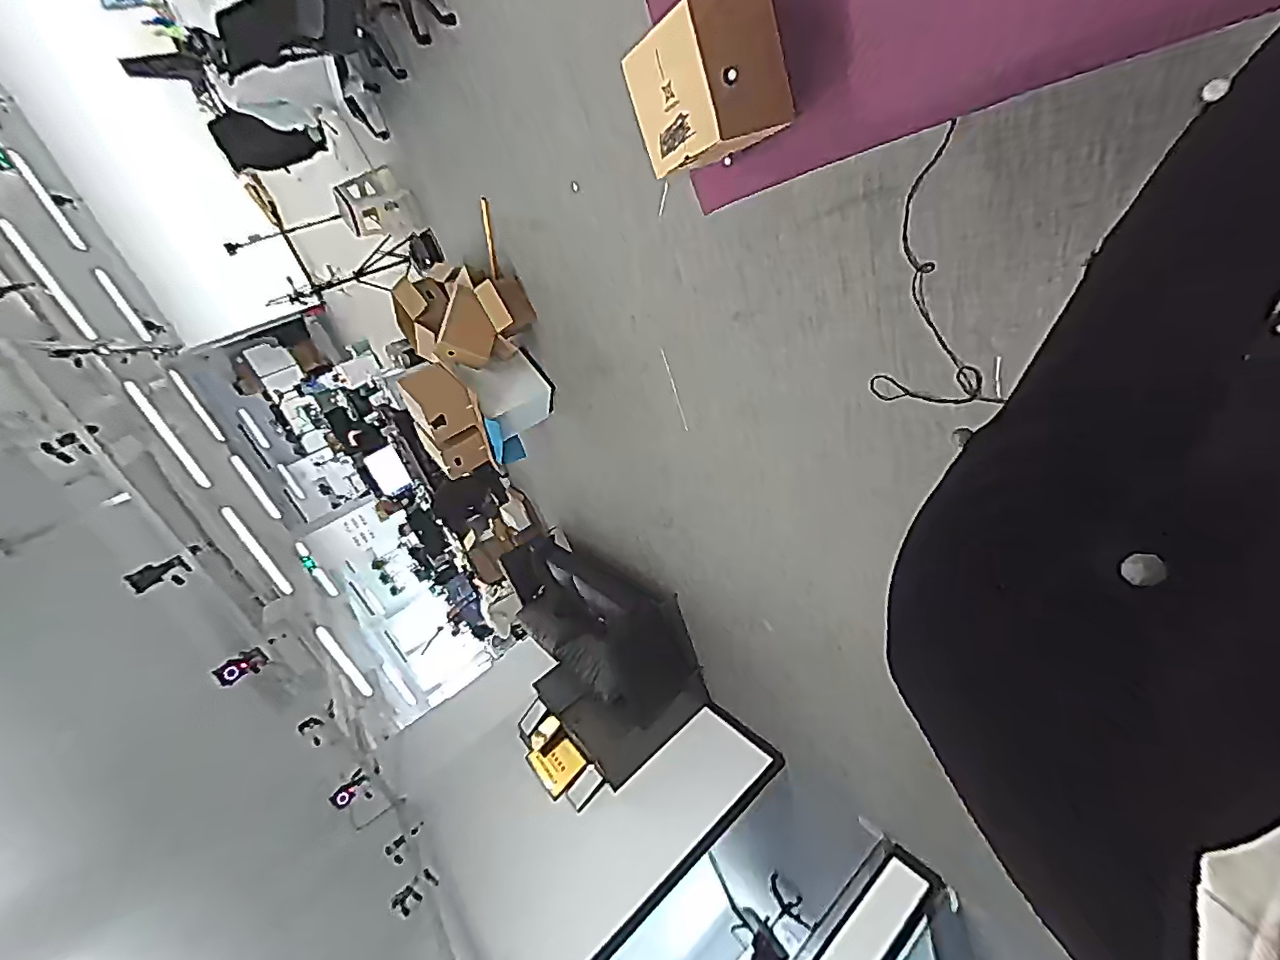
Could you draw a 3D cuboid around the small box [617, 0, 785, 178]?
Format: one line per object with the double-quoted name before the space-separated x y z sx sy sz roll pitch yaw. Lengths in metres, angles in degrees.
"small box" 0.099 -0.602 0.835 0.168 0.176 0.179 12 128 55
